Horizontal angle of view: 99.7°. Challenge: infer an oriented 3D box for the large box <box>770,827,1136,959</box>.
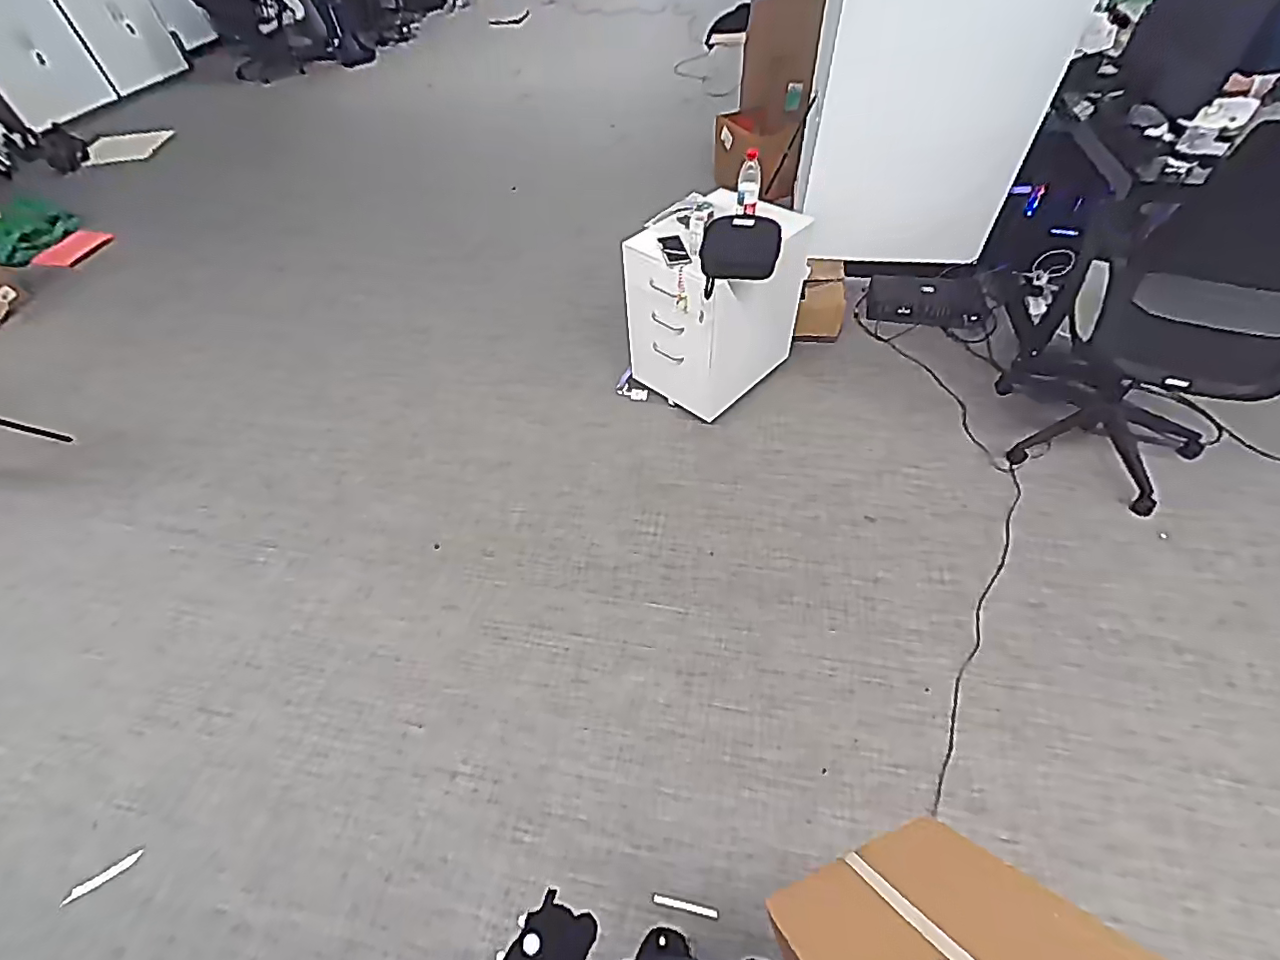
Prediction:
[{"bbox_3d":[0.416,0.719,0.652,0.320,0.408,0.320,-18,84,-11],"label":"large box"}]
